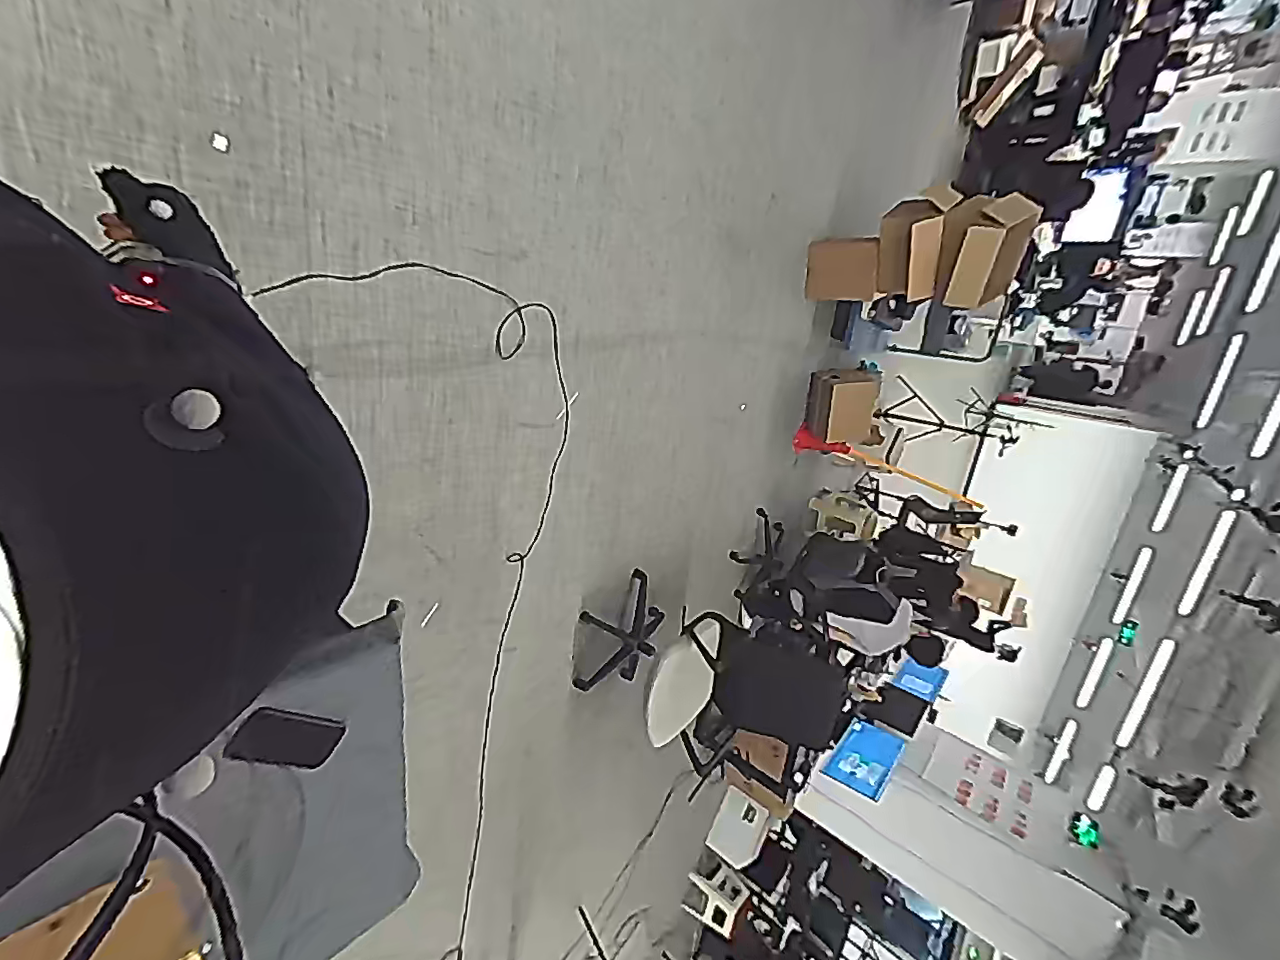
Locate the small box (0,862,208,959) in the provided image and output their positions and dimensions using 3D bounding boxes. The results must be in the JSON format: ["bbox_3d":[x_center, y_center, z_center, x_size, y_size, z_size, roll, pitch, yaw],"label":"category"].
[{"bbox_3d":[-0.637,0.611,0.649,0.168,0.176,0.179,-17,121,-48],"label":"small box"}]
